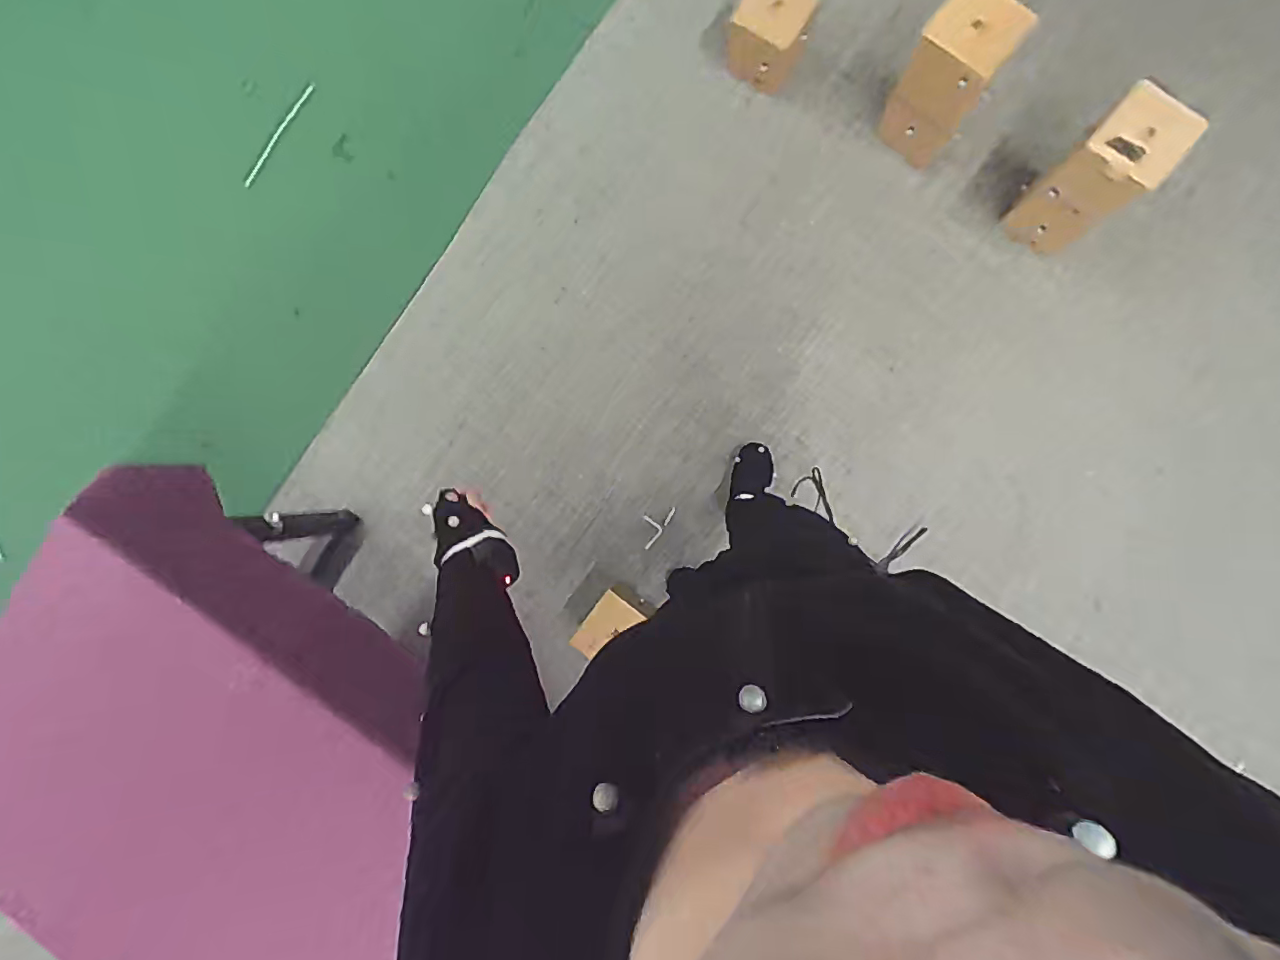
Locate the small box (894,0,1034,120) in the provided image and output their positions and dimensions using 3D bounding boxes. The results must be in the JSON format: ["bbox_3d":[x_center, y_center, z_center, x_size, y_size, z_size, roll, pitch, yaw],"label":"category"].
[{"bbox_3d":[0.710,-0.962,1.210,0.179,0.176,0.168,40,93,5],"label":"small box"}]

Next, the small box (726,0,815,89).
[{"bbox_3d":[0.339,-1.187,1.417,0.168,0.176,0.179,34,92,5],"label":"small box"}]

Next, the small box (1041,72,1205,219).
[{"bbox_3d":[1.026,-0.711,1.172,0.168,0.176,0.179,40,92,5],"label":"small box"}]

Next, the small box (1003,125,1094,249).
[{"bbox_3d":[1.047,-0.711,1.336,0.168,0.176,0.179,38,94,5],"label":"small box"}]
